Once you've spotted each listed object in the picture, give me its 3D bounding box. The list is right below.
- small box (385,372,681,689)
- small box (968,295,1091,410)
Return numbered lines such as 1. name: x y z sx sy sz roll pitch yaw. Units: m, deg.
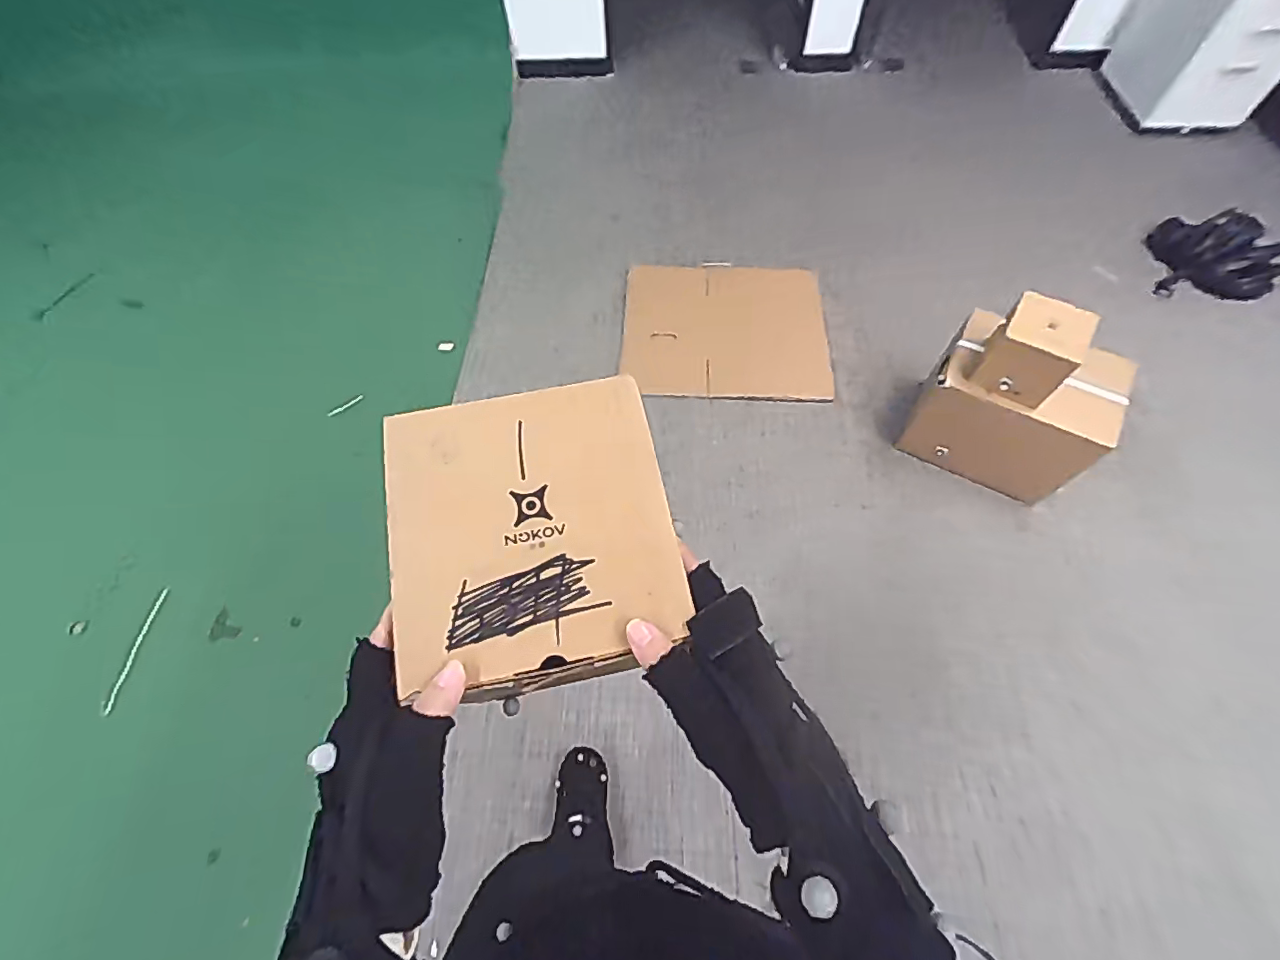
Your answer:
1. small box: -0.071 0.049 0.403 0.168 0.176 0.179 -11 67 -5
2. small box: 0.930 -0.304 1.305 0.168 0.176 0.179 28 67 17
